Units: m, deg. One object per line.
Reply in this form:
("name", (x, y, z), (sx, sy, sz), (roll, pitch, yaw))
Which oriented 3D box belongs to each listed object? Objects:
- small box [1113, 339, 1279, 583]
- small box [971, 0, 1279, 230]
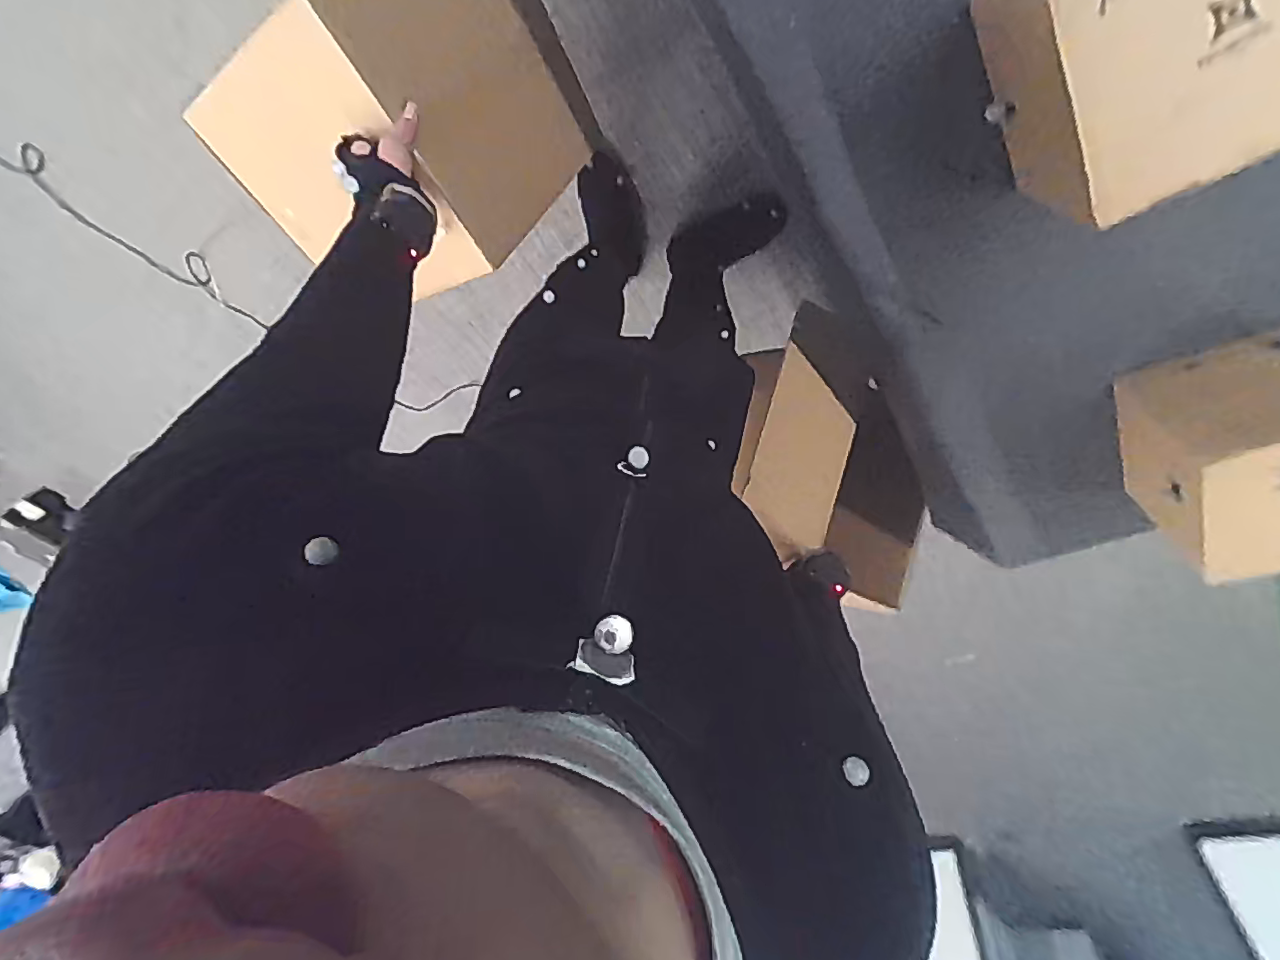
("small box", (0.634, -0.026, 0.564), (0.168, 0.176, 0.179), (-18, 122, 26))
("small box", (0.373, -0.325, 0.395), (0.168, 0.176, 0.179), (-23, 120, 27))
